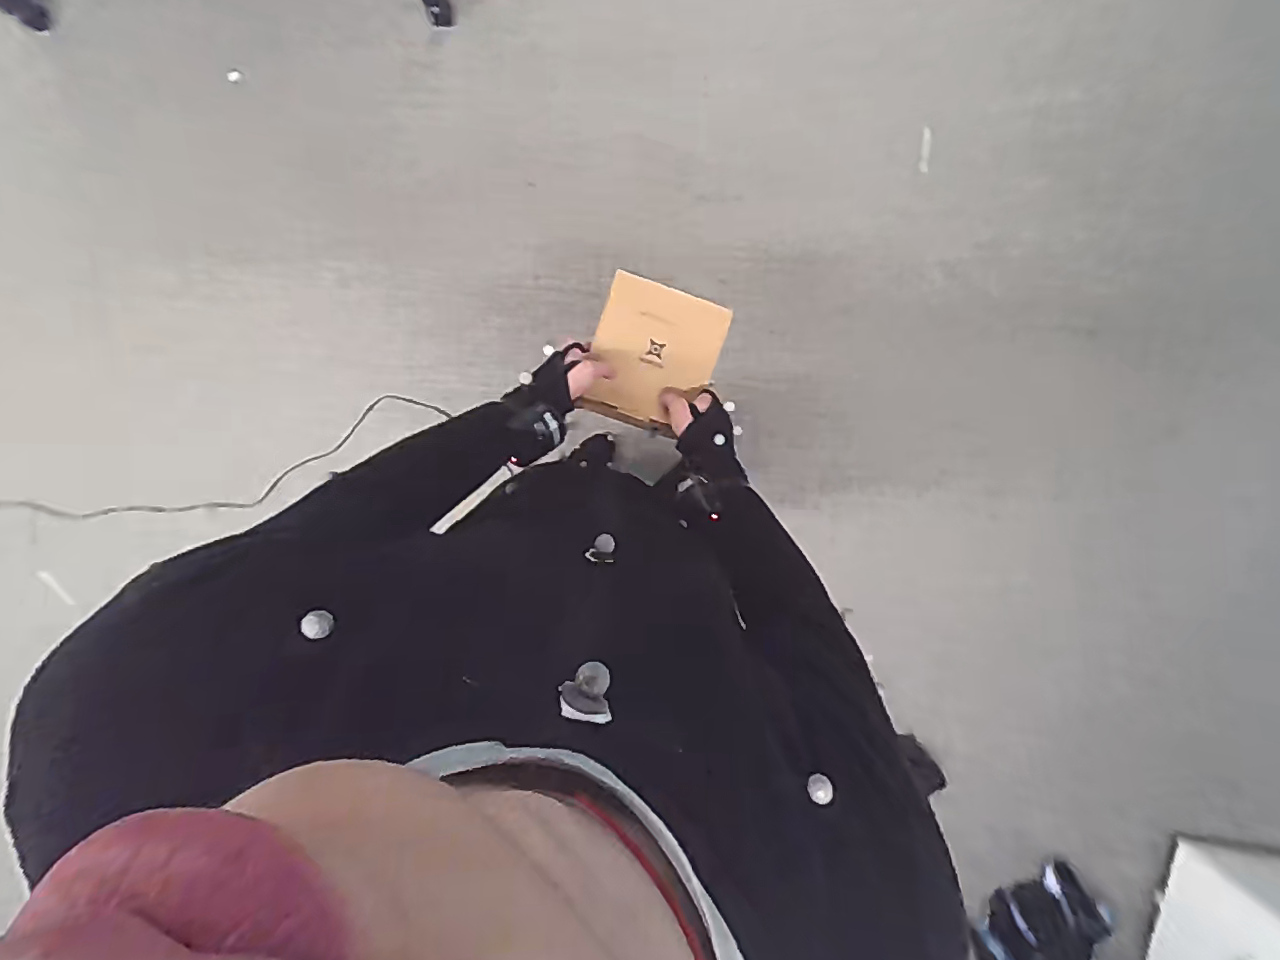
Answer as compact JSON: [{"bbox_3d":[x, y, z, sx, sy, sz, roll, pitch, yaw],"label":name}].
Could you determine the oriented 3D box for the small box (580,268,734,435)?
[{"bbox_3d":[0.019,-0.173,0.790,0.168,0.176,0.179,17,88,-4],"label":"small box"}]
